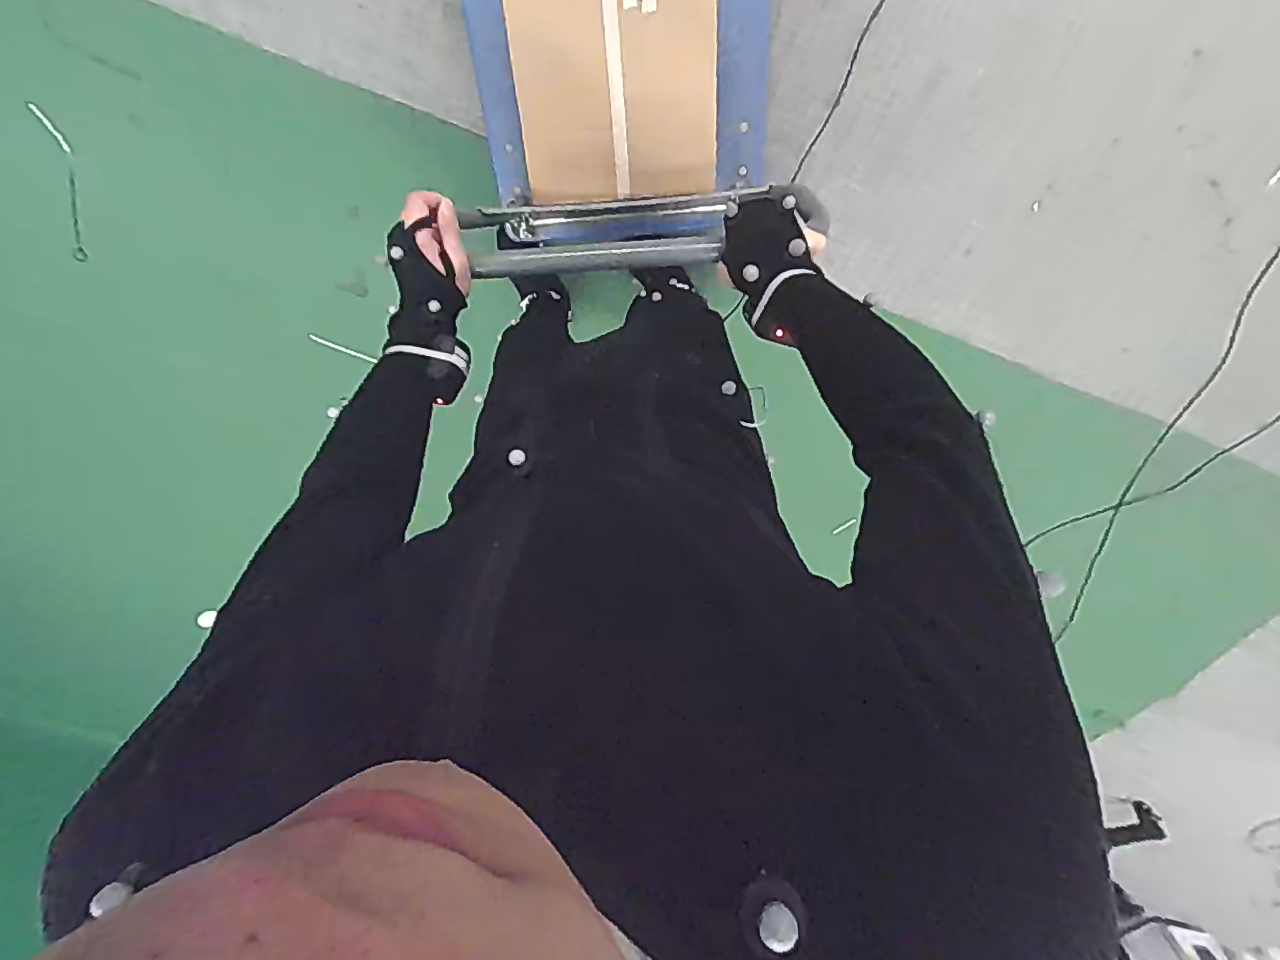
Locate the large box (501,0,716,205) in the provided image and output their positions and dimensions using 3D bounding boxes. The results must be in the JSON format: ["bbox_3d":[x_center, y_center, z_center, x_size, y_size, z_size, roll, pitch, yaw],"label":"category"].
[{"bbox_3d":[-0.038,-0.722,0.939,0.320,0.320,0.408,-3,121,2],"label":"large box"}]
